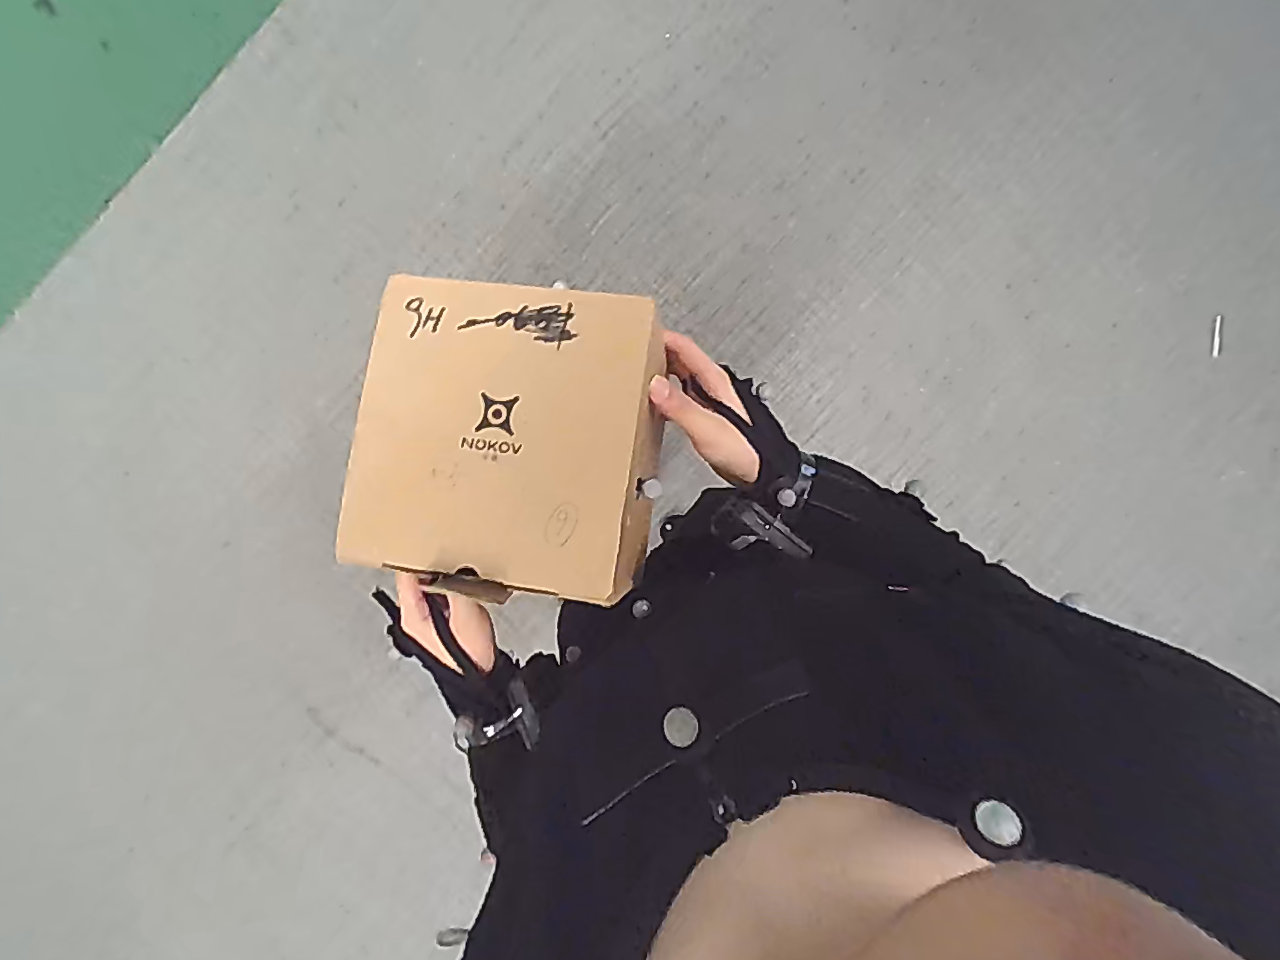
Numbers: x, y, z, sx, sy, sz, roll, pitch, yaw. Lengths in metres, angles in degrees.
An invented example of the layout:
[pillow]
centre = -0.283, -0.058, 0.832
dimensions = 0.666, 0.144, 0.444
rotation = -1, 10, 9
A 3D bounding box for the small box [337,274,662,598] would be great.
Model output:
[small box]
centre = -0.078, -0.023, 0.394
dimensions = 0.168, 0.176, 0.179
rotation = 8, 85, 7
